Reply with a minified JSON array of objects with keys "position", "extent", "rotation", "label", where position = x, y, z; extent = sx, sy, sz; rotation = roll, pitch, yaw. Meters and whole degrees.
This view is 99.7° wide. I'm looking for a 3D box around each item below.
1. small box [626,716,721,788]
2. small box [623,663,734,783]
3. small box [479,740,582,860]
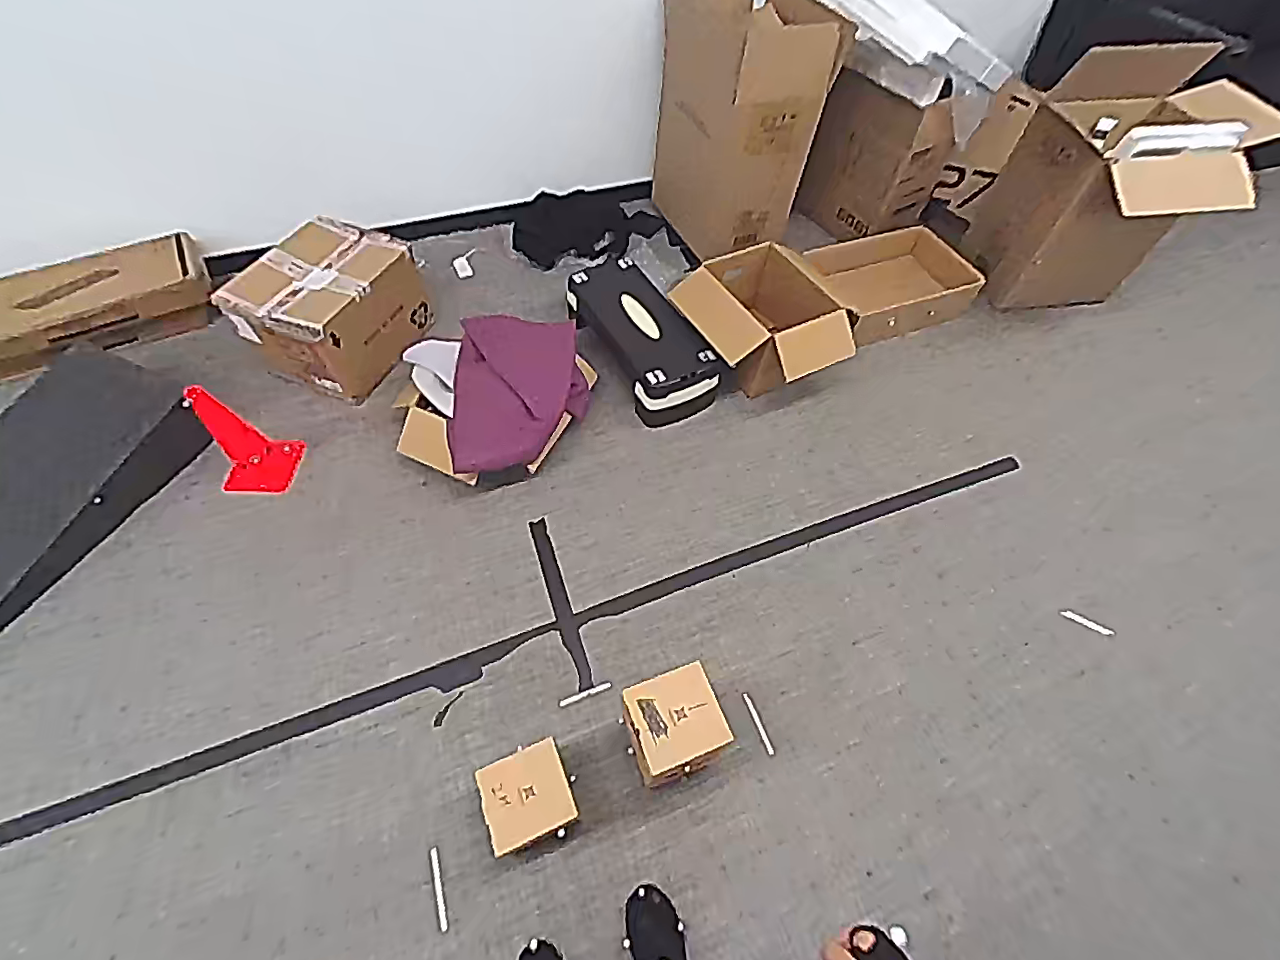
[{"position":[0.071,0.600,1.265],"extent":[0.168,0.176,0.179],"rotation":[-16,60,-13],"label":"small box"},{"position":[0.073,0.509,1.126],"extent":[0.179,0.176,0.168],"rotation":[-17,59,-14],"label":"small box"},{"position":[-0.232,0.697,1.184],"extent":[0.179,0.176,0.168],"rotation":[-20,60,-14],"label":"small box"}]
